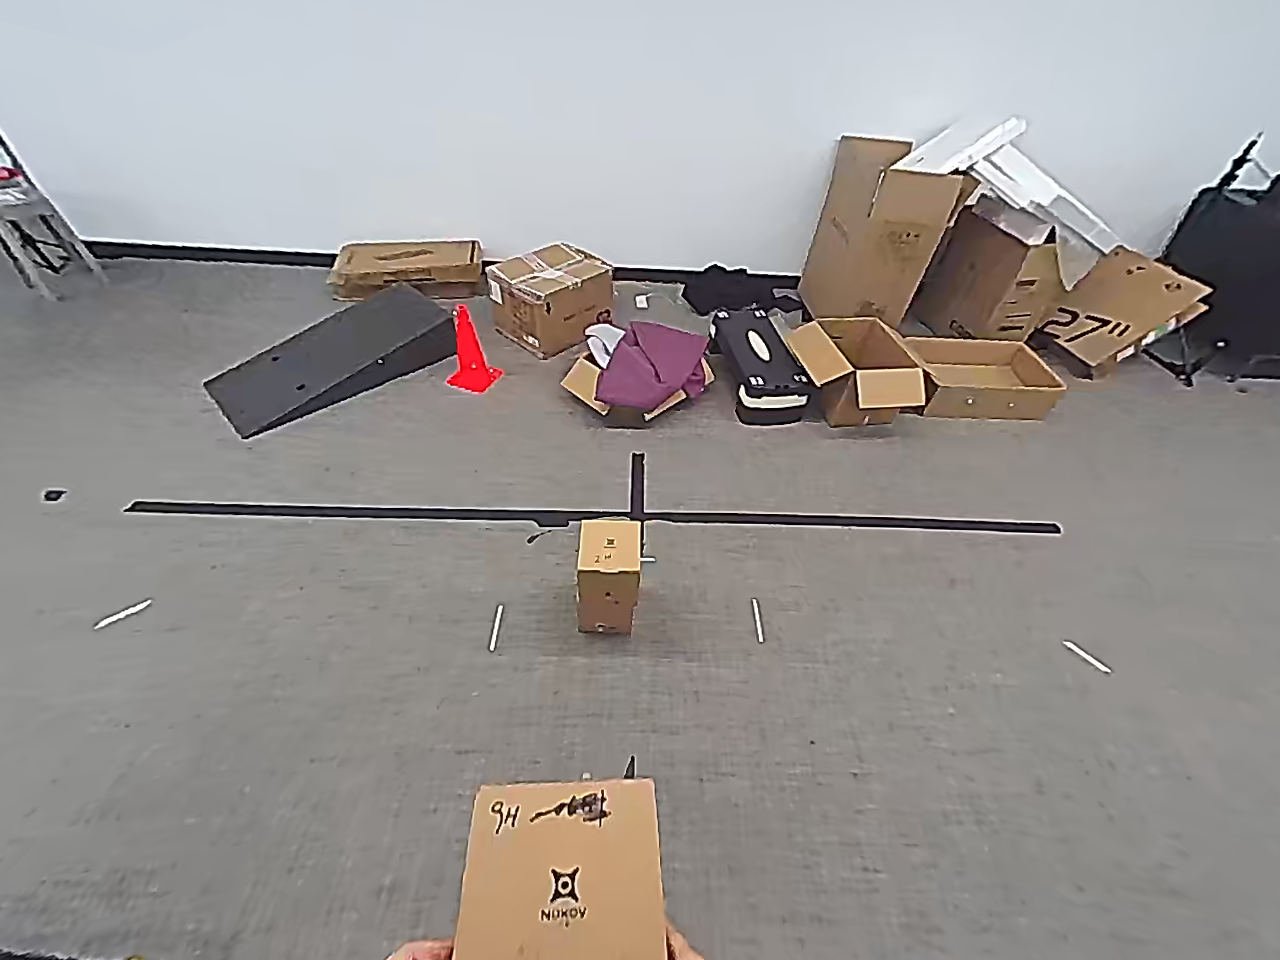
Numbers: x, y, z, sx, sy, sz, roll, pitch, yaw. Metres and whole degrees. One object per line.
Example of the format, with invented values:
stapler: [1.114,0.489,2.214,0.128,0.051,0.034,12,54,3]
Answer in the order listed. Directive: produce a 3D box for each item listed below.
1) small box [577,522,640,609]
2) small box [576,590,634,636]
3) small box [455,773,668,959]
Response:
small box: [-0.085,0.237,1.505,0.168,0.176,0.179,1,45,-2]
small box: [-0.102,0.348,1.627,0.168,0.176,0.179,1,46,-2]
small box: [-0.065,0.393,0.496,0.168,0.176,0.179,0,45,-6]
